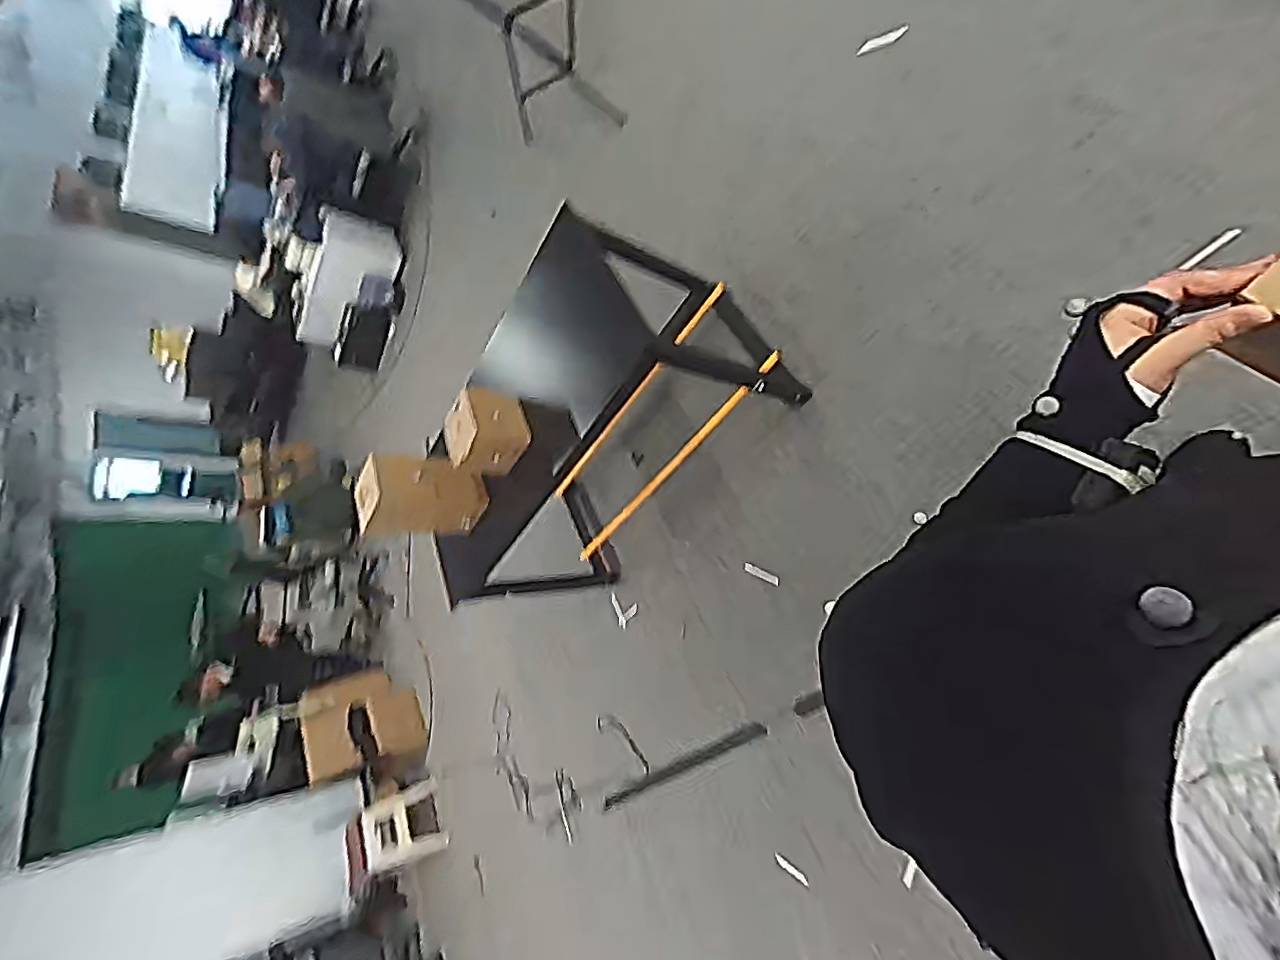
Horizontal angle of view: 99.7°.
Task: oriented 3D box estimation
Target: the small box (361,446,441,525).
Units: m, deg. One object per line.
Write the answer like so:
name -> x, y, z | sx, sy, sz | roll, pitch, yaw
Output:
small box -> -0.717, 0.023, 1.619 | 0.179, 0.176, 0.168 | -48, 54, 33

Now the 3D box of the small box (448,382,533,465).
small box -> -0.432, -0.157, 1.568 | 0.168, 0.176, 0.179 | -45, 56, 35

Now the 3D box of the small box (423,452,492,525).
small box -> -0.597, 0.032, 1.731 | 0.168, 0.176, 0.179 | -48, 55, 34
